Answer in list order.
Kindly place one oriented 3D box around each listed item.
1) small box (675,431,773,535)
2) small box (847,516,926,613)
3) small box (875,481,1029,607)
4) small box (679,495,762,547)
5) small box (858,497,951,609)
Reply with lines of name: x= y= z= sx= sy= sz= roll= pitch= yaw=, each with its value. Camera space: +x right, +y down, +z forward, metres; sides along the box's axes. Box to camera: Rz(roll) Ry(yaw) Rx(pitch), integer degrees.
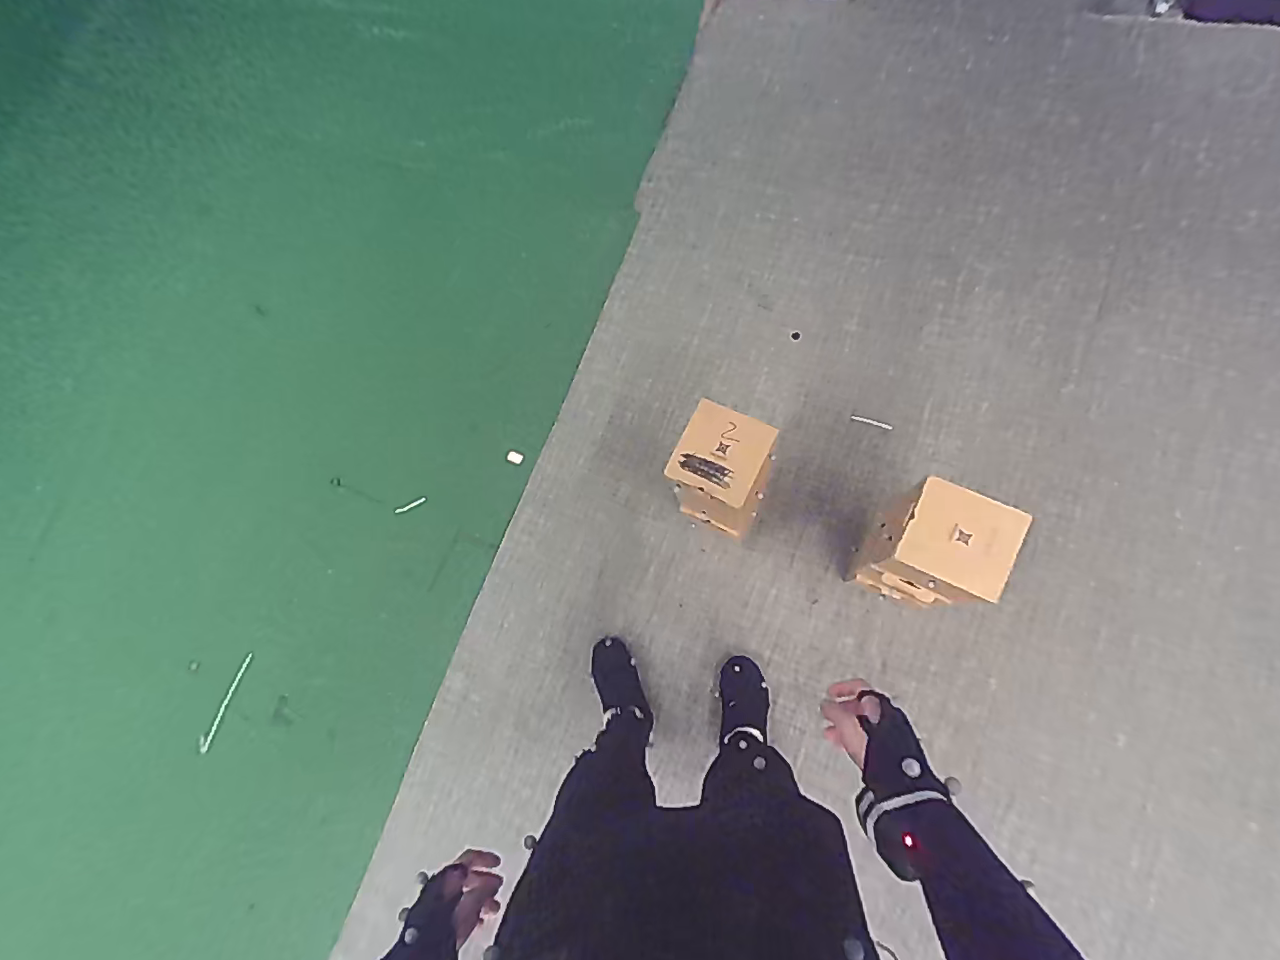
small box: x=0.199 y=0.014 z=1.277 sx=0.168 sy=0.176 sz=0.179 roll=24 pitch=83 yaw=16
small box: x=0.616 y=0.209 z=1.314 sx=0.168 sy=0.176 sz=0.179 roll=21 pitch=82 yaw=16
small box: x=0.562 y=0.126 z=1.001 sx=0.179 sy=0.176 sz=0.168 roll=25 pitch=83 yaw=16
small box: x=0.223 y=0.066 z=1.446 sx=0.168 sy=0.176 sz=0.179 roll=24 pitch=82 yaw=15
small box: x=0.588 y=0.161 z=1.159 sx=0.168 sy=0.176 sz=0.179 roll=26 pitch=83 yaw=17
